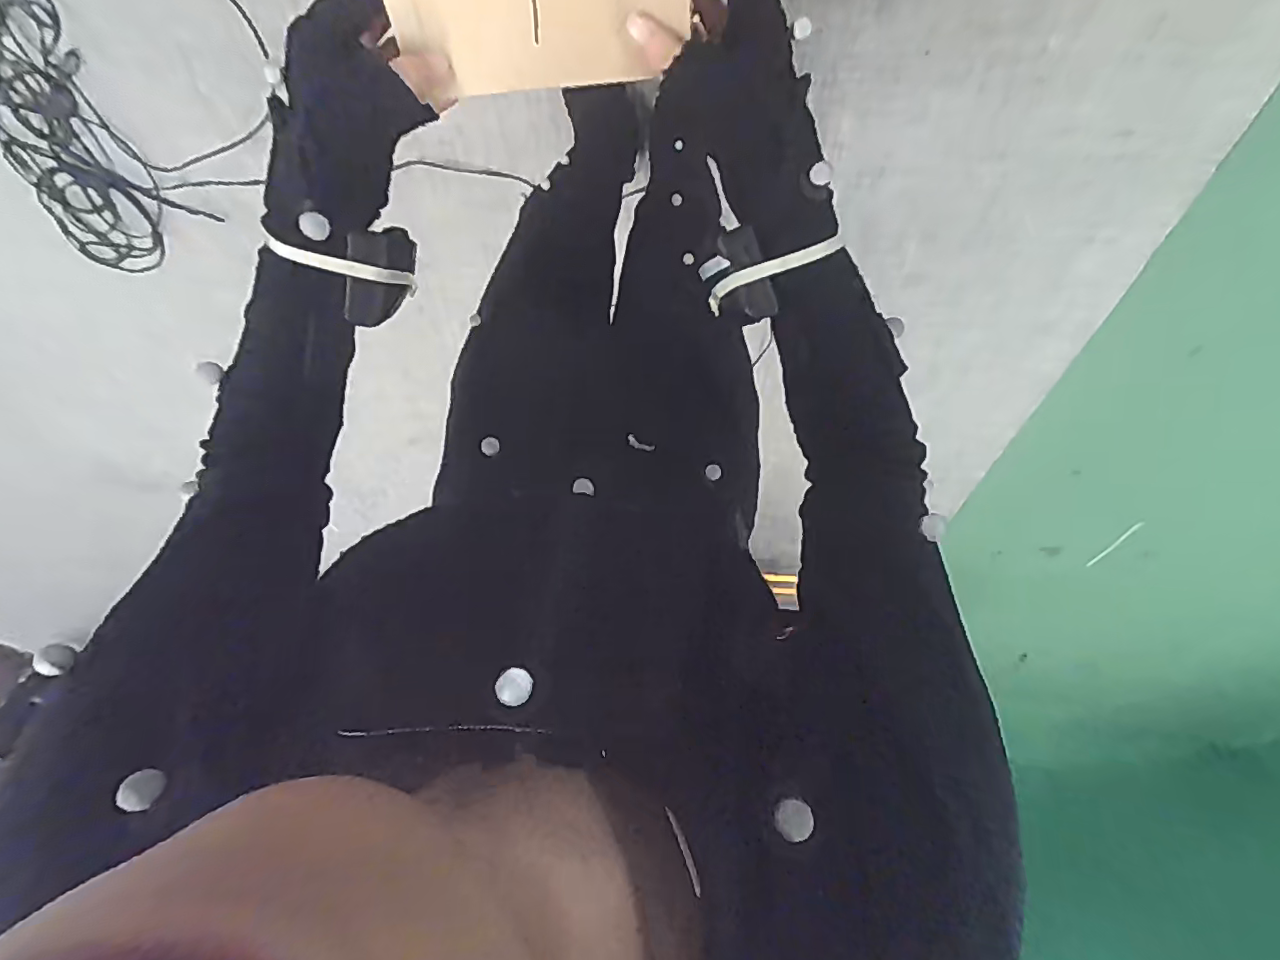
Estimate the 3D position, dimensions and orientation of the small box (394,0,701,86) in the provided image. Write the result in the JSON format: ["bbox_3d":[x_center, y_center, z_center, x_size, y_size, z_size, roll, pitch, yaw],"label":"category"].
[{"bbox_3d":[-0.050,-0.350,0.303,0.168,0.176,0.179,-1,137,6],"label":"small box"}]
